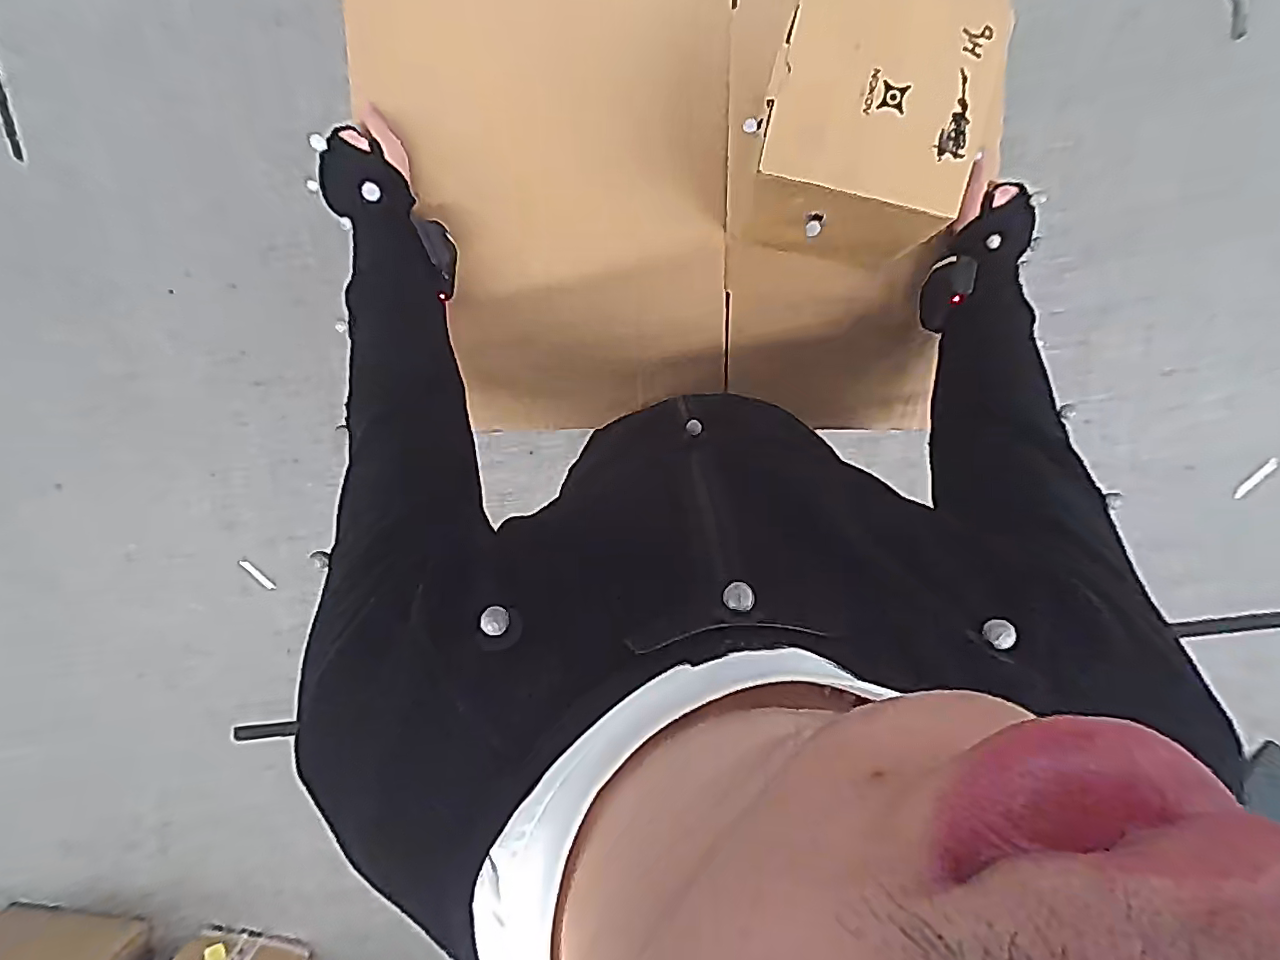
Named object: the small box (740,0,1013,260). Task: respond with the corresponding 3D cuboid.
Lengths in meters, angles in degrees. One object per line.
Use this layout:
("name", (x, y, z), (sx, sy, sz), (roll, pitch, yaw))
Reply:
("small box", (0.206, -0.334, 0.530), (0.179, 0.176, 0.168), (14, 97, 1))
